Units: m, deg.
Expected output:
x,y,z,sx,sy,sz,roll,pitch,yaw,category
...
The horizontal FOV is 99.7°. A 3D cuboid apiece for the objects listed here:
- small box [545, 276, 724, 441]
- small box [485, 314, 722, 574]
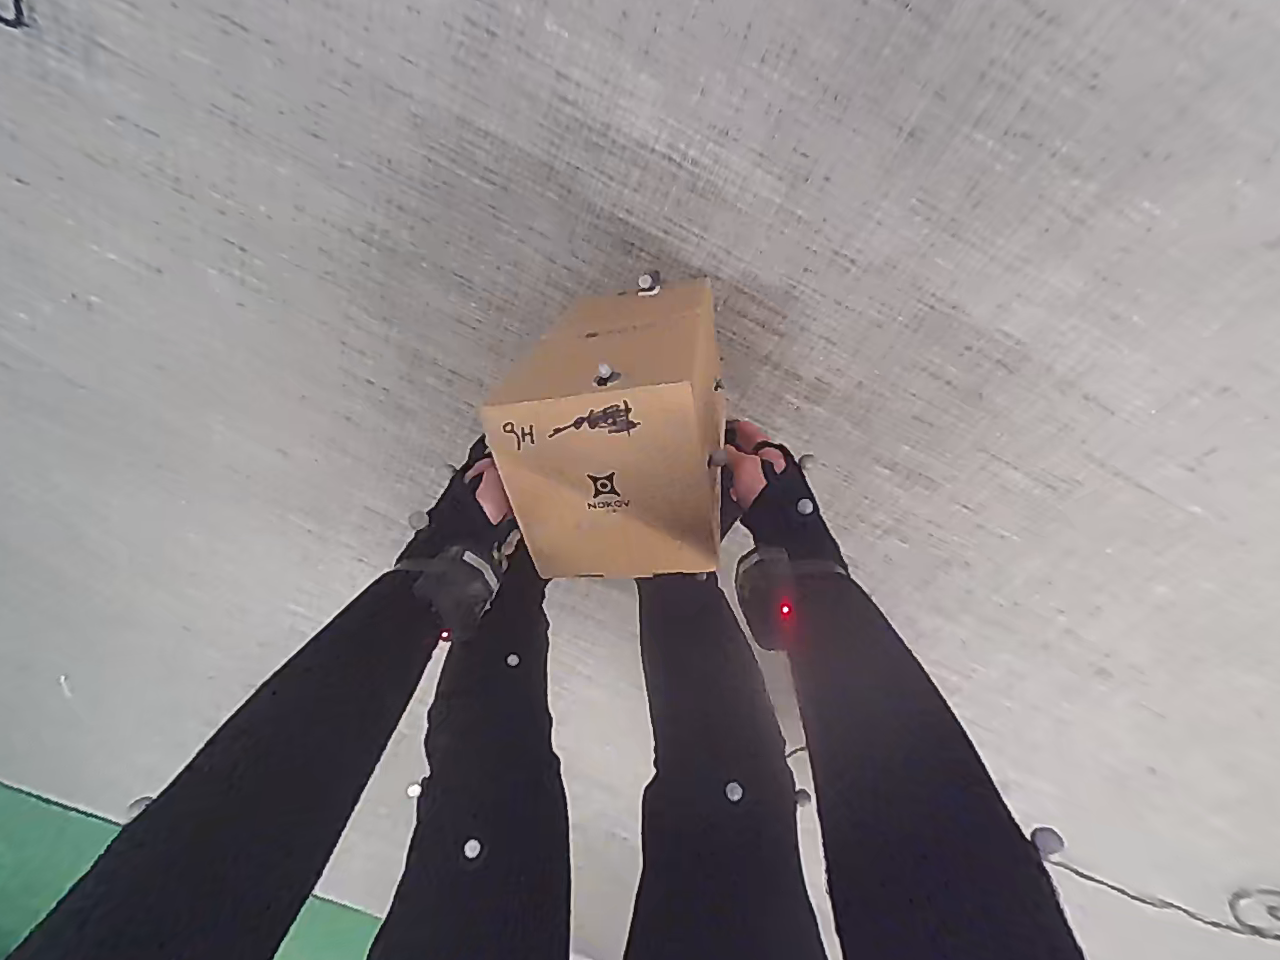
x,y,z,sx,sy,sz,roll,pitch,yaw,category
0.009,-0.124,0.640,0.168,0.176,0.179,-6,120,13,small box
-0.013,-0.035,0.503,0.168,0.176,0.179,-5,123,12,small box
